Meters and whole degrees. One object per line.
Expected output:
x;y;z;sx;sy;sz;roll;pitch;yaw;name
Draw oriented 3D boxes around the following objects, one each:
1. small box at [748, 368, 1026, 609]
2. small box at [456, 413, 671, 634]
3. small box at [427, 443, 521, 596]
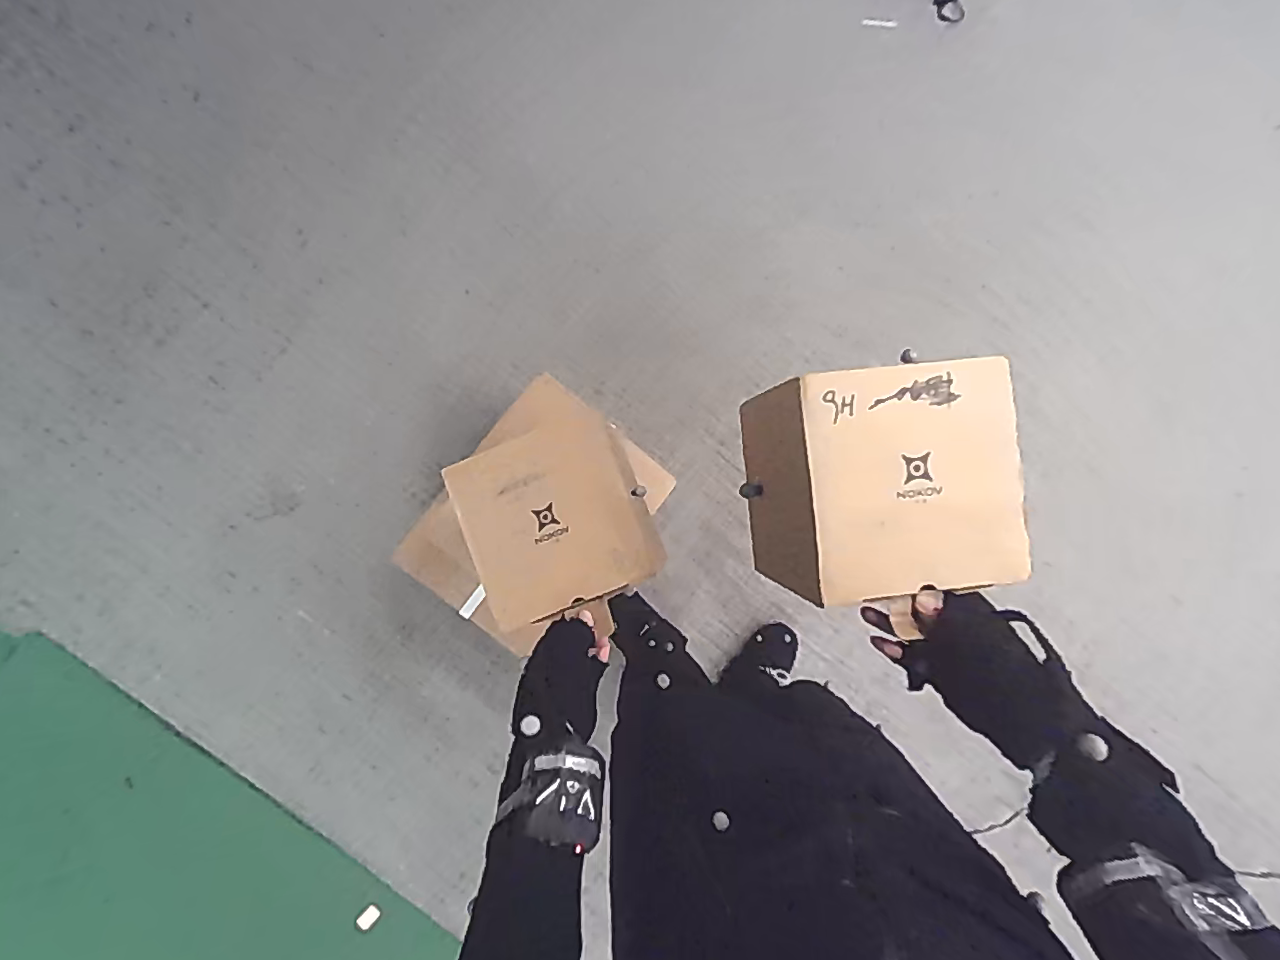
0.205;0.003;0.488;0.168;0.176;0.179;-5;91;-6;small box
-0.070;0.048;0.601;0.168;0.176;0.179;-21;83;3;small box
-0.190;0.063;0.827;0.179;0.176;0.168;-45;96;-7;small box
